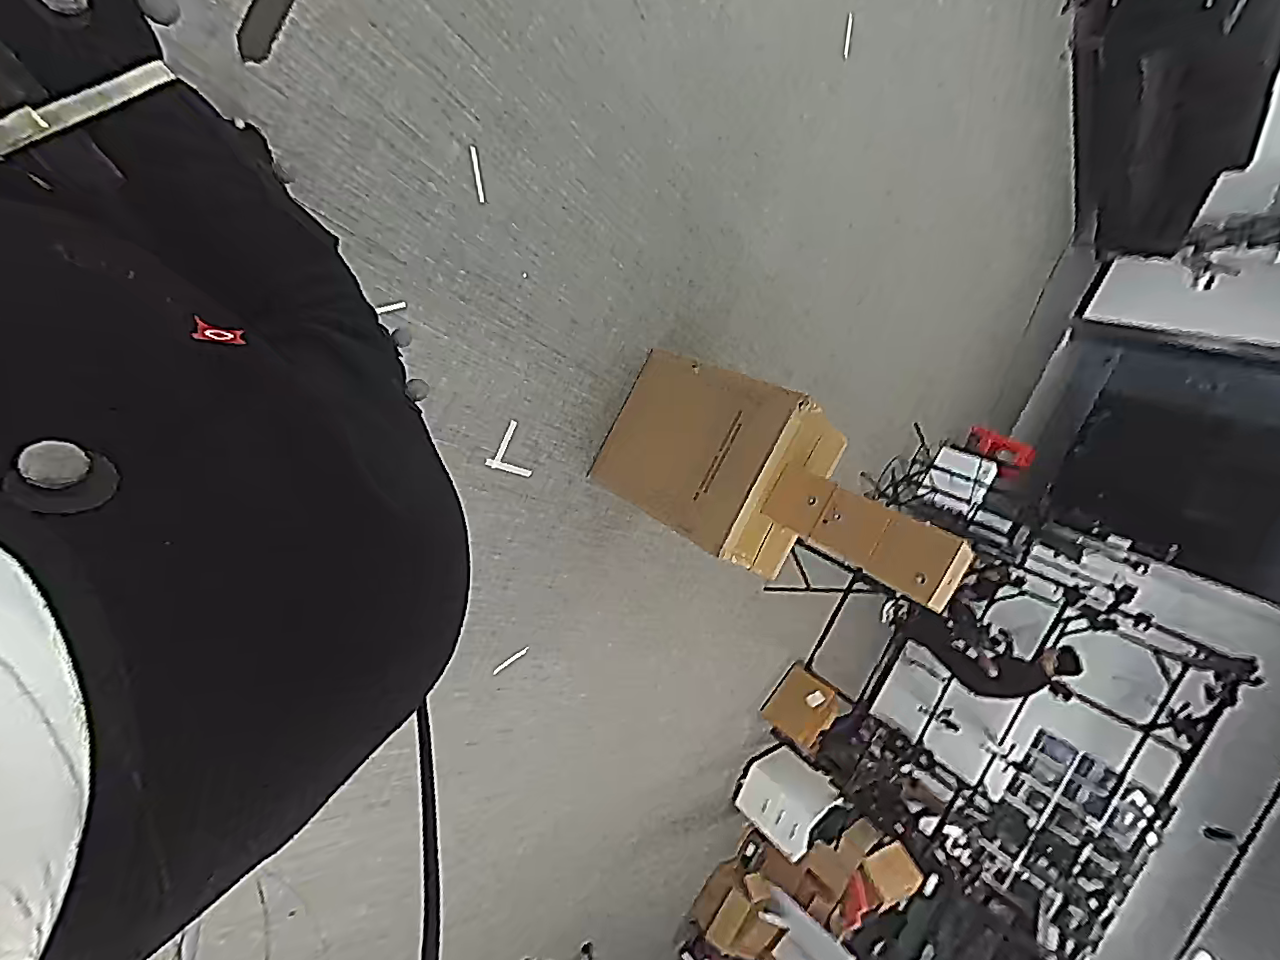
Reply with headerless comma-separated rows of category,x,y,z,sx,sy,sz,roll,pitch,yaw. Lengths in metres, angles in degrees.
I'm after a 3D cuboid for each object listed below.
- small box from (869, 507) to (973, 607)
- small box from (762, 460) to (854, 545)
small box,0.702,0.194,1.364,0.168,0.176,0.179,26,93,-49
small box,0.489,0.063,1.580,0.168,0.176,0.179,26,93,-49
